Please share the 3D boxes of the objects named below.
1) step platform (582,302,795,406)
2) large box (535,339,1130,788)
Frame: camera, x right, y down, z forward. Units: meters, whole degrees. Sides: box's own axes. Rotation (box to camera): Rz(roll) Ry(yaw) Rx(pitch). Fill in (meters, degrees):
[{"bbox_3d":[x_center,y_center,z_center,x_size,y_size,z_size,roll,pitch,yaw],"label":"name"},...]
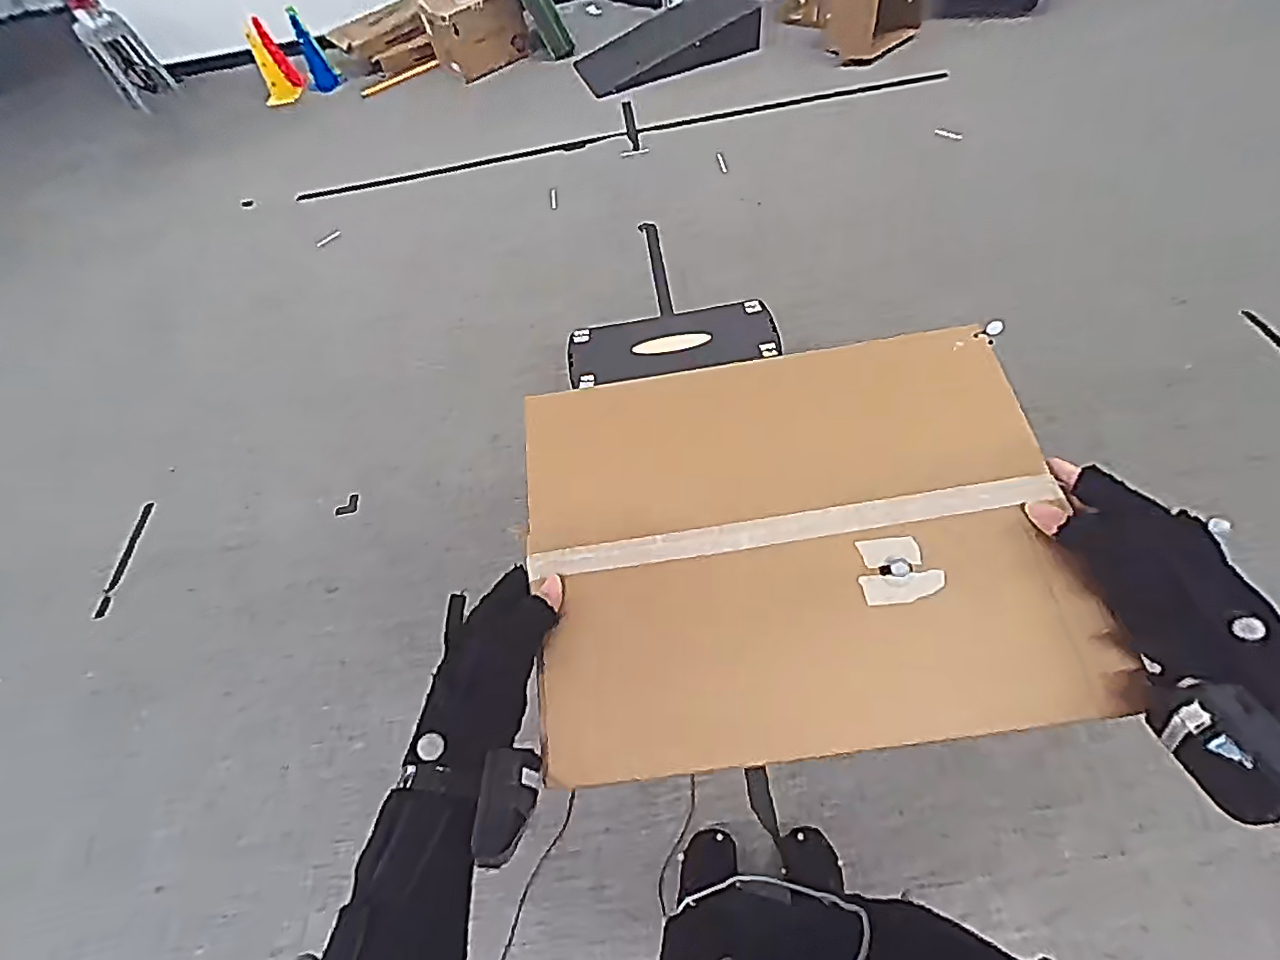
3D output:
[{"bbox_3d":[0.153,-0.376,1.784,0.684,0.204,0.286,-10,58,1],"label":"step platform"},{"bbox_3d":[0.132,0.103,0.568,0.408,0.320,0.320,-9,67,2],"label":"large box"}]
